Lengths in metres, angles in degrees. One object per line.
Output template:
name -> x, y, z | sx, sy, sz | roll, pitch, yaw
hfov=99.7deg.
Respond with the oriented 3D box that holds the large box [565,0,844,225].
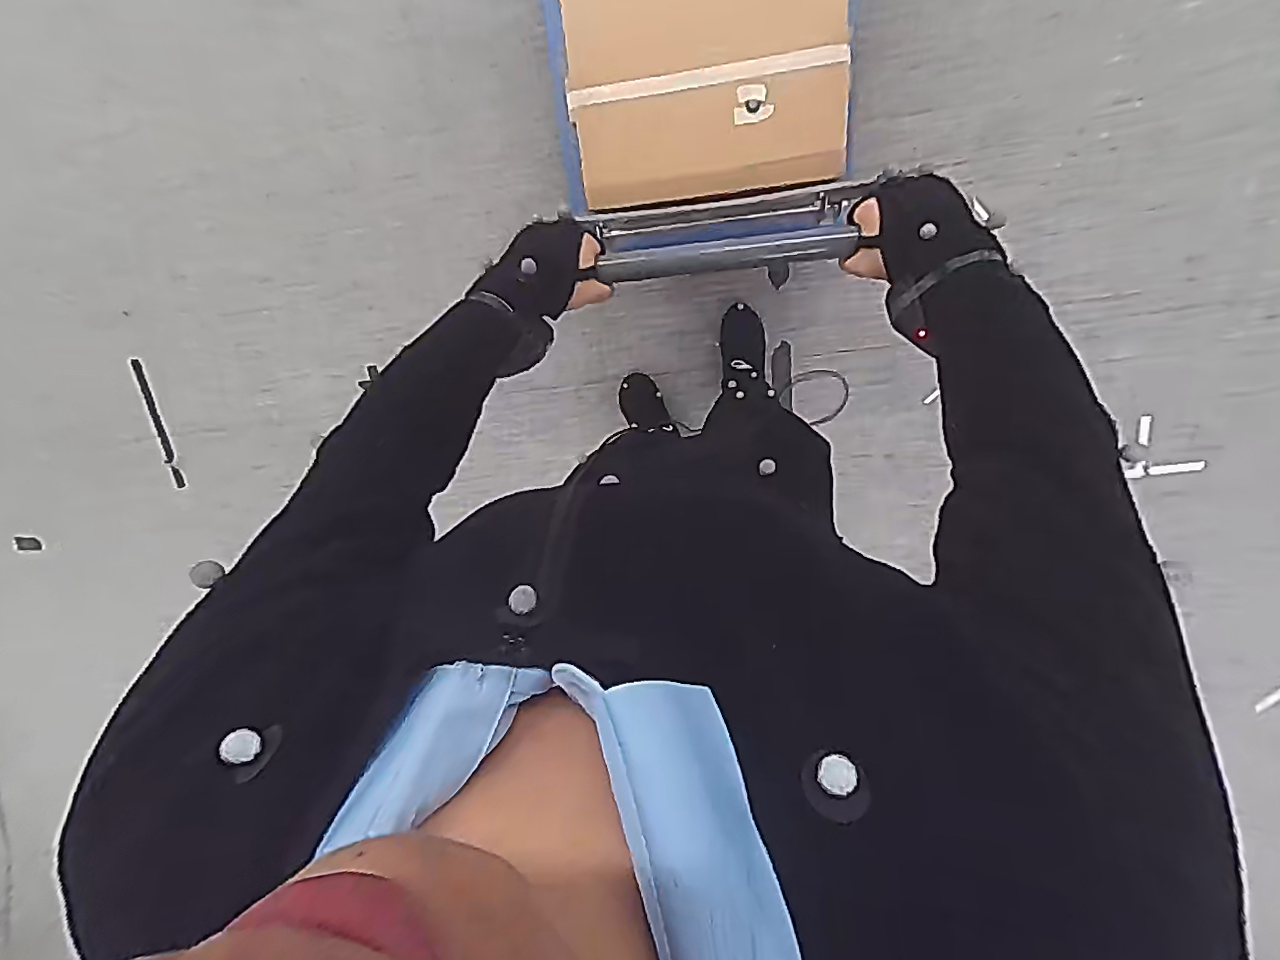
large box -> 0.113, -0.654, 0.952 | 0.408, 0.320, 0.320 | -4, 112, 7
